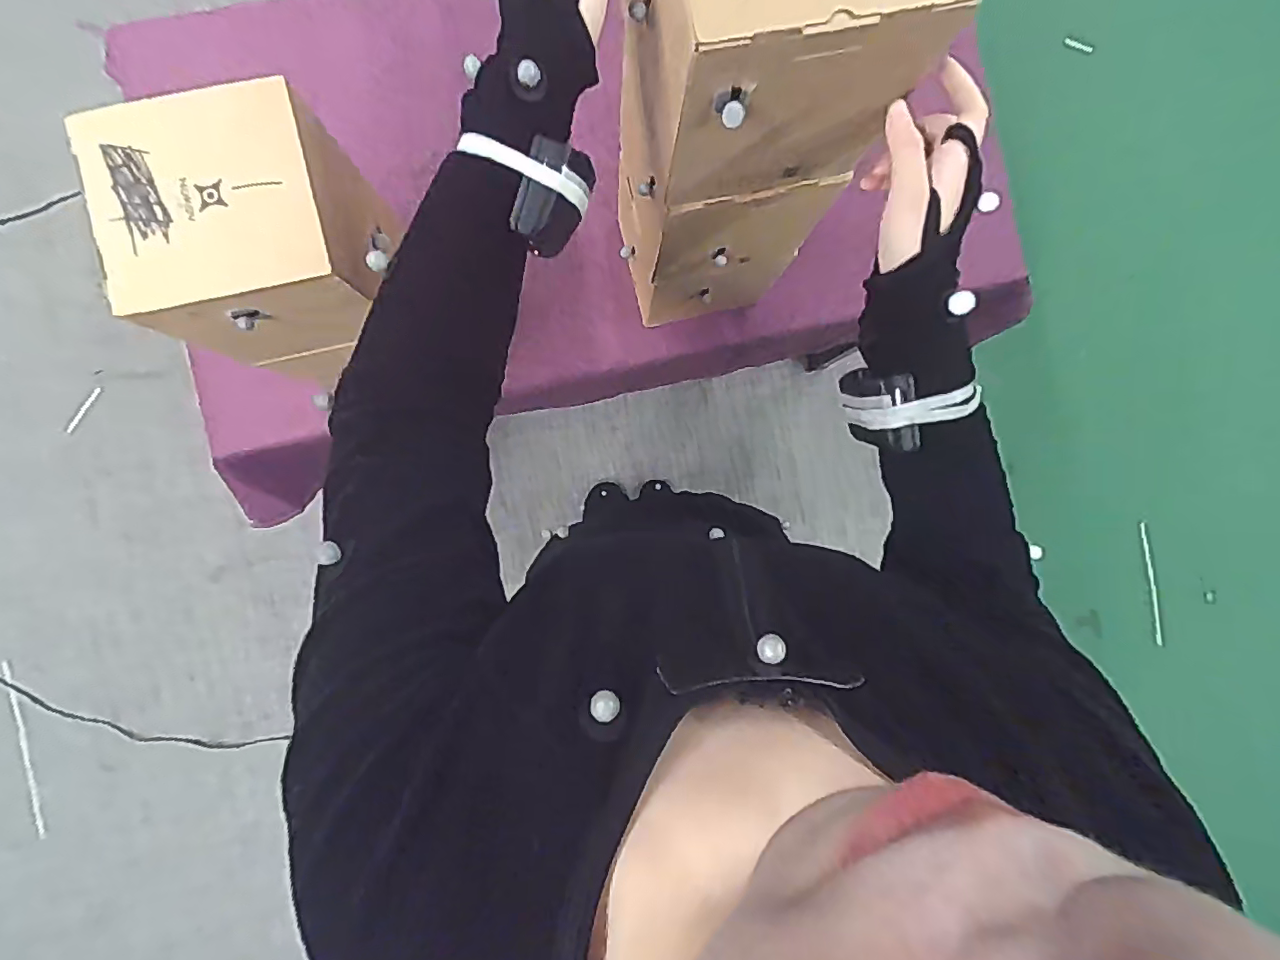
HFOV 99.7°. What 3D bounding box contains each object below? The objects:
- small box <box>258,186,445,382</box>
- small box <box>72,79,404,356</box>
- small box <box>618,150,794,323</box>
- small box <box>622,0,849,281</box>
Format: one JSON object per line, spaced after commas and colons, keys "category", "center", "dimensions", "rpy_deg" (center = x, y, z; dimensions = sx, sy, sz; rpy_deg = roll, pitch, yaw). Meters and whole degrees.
{"category": "small box", "center": [-0.362, -0.229, 0.679], "dimensions": [0.168, 0.176, 0.179], "rpy_deg": [-13, 90, -3]}
{"category": "small box", "center": [-0.356, -0.228, 0.514], "dimensions": [0.179, 0.176, 0.168], "rpy_deg": [-13, 91, -4]}
{"category": "small box", "center": [0.075, -0.318, 0.700], "dimensions": [0.179, 0.176, 0.168], "rpy_deg": [-14, 91, -2]}
{"category": "small box", "center": [0.079, -0.325, 0.537], "dimensions": [0.168, 0.176, 0.179], "rpy_deg": [-12, 91, -3]}
